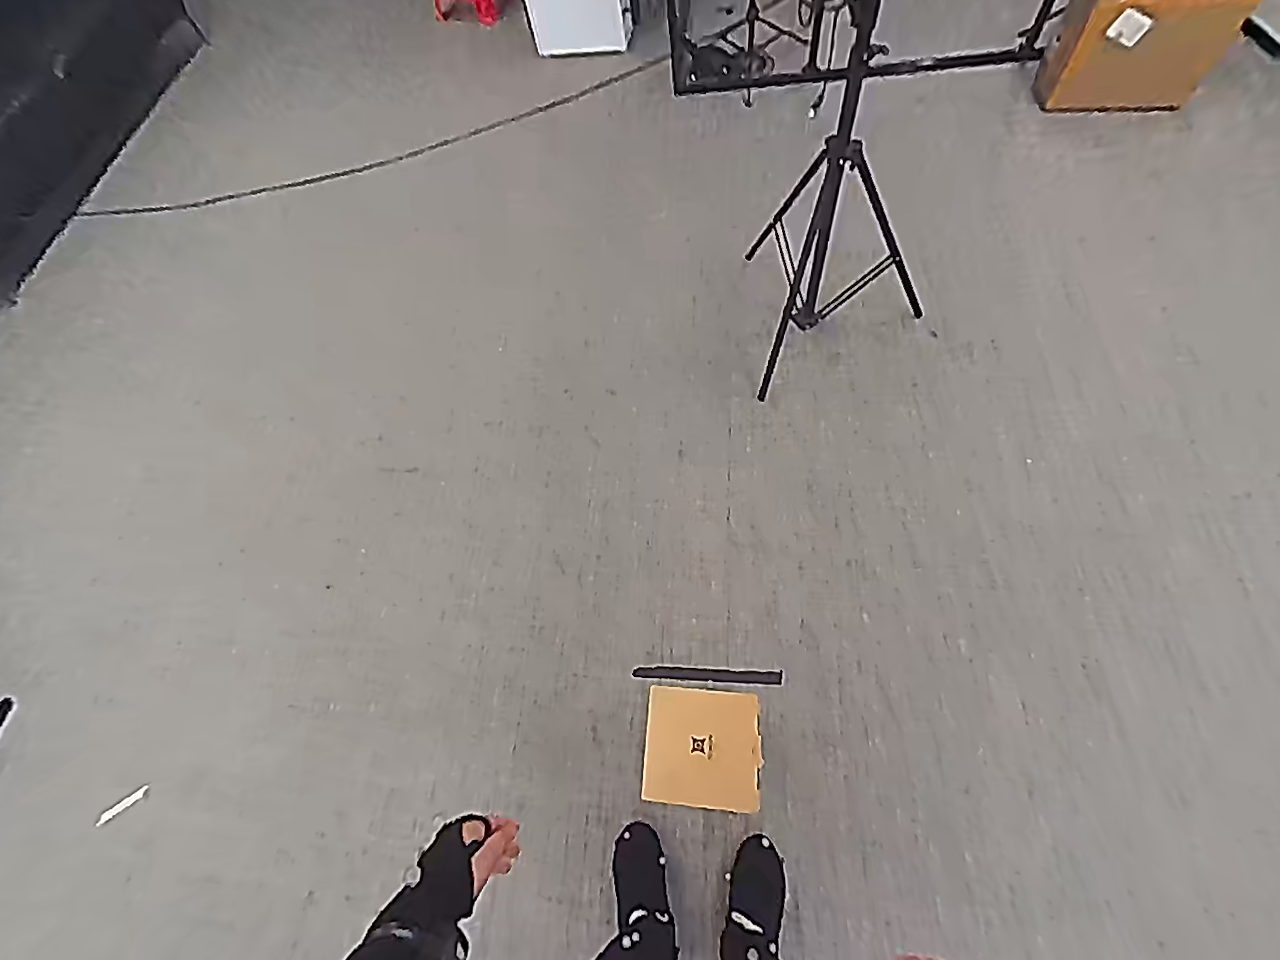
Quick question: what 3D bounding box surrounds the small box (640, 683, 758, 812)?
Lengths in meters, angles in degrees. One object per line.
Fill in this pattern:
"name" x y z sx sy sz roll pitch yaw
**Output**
"small box" 0.104 0.440 0.897 0.179 0.176 0.168 1 64 9
